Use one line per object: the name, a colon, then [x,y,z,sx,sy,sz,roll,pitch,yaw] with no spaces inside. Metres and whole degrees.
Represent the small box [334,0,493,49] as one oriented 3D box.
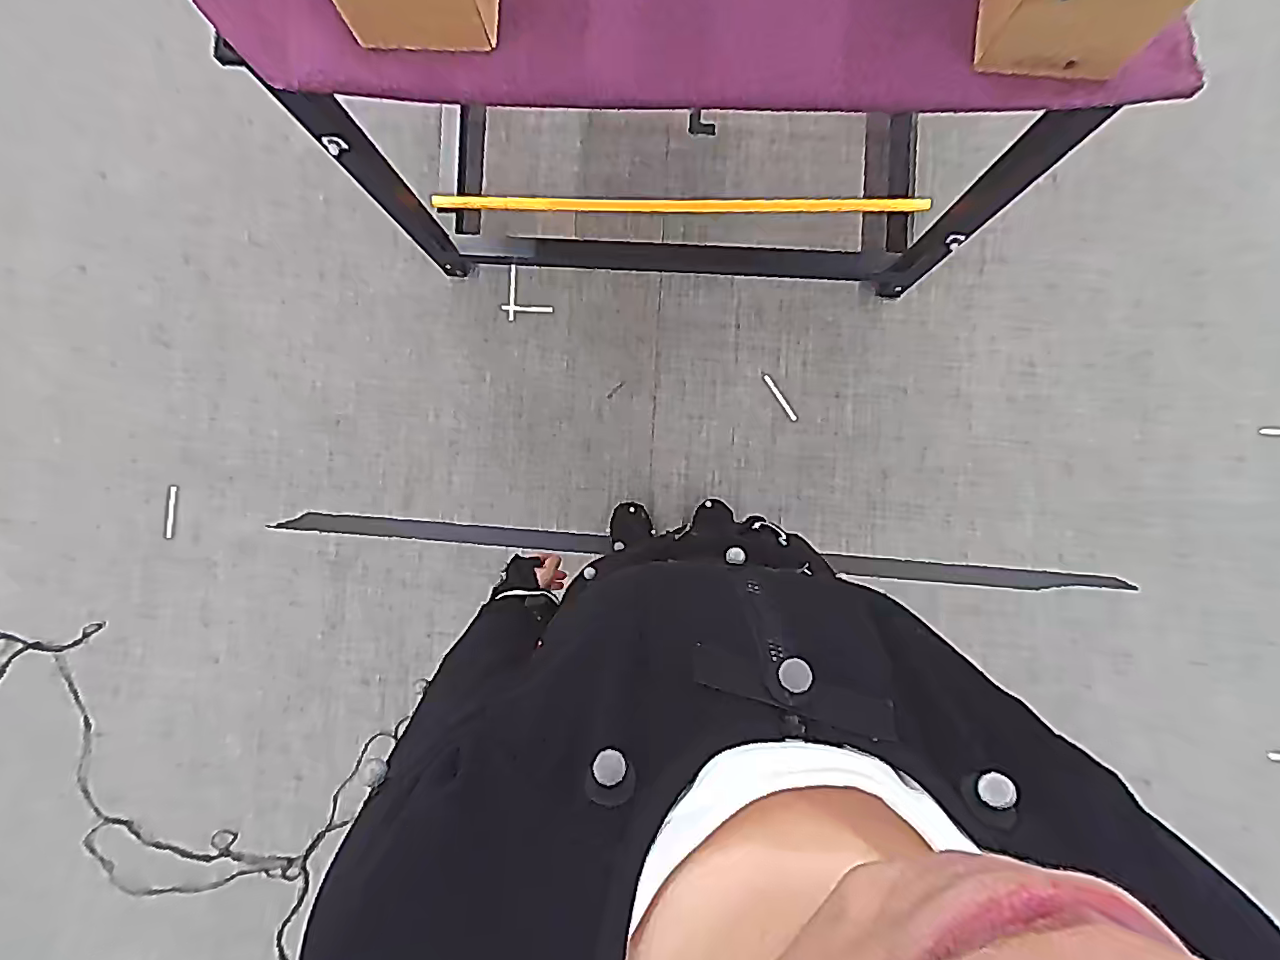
small box: [-0.278,-0.639,0.619,0.179,0.176,0.168,2,87,1]
